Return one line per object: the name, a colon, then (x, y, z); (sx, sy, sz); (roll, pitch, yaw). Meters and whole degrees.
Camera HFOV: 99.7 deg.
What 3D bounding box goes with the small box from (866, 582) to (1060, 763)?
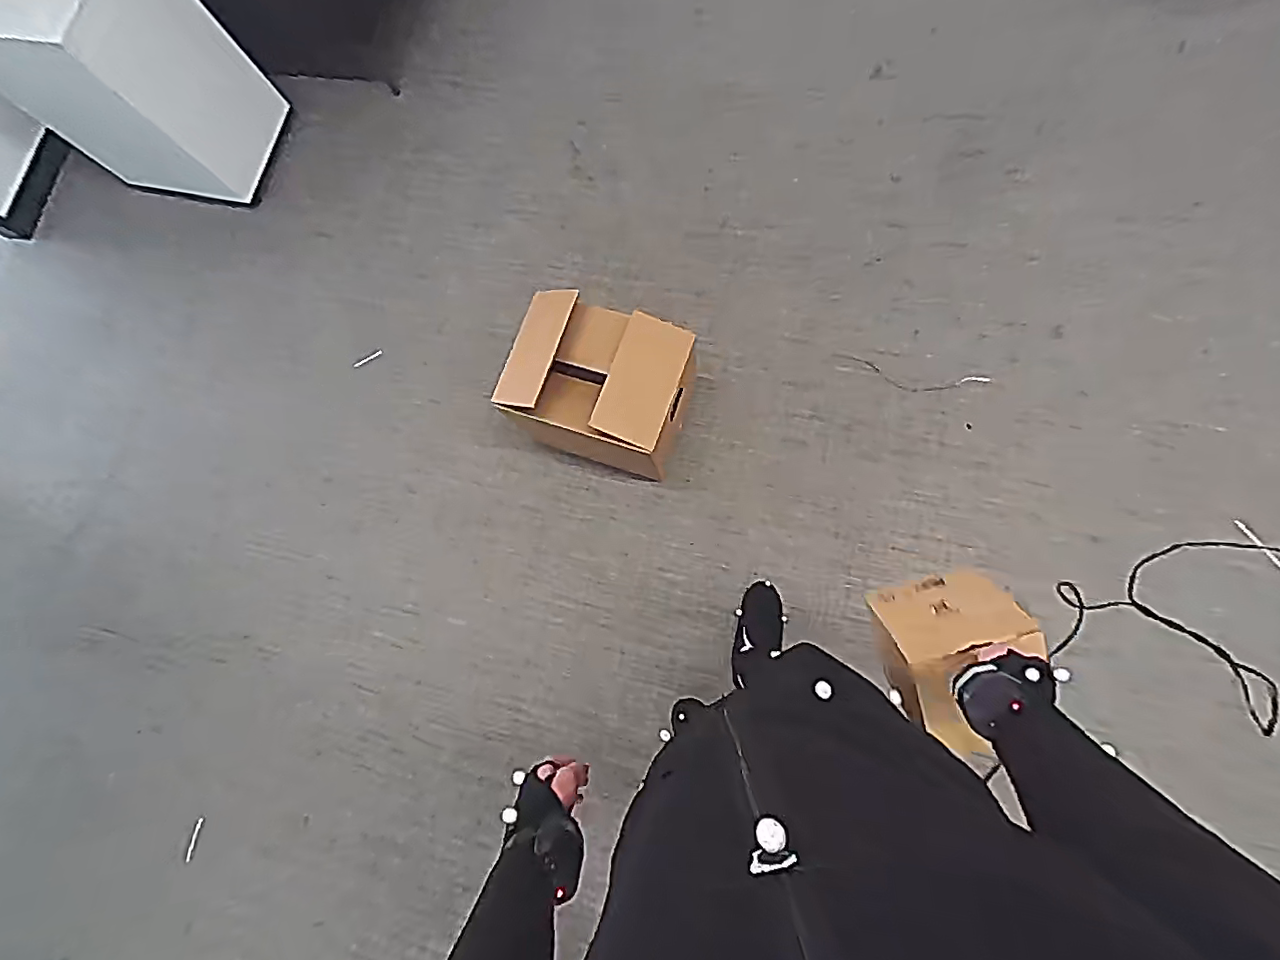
small box: (0.458, 0.277, 0.781); (0.168, 0.179, 0.176); (-19, 99, 6)
